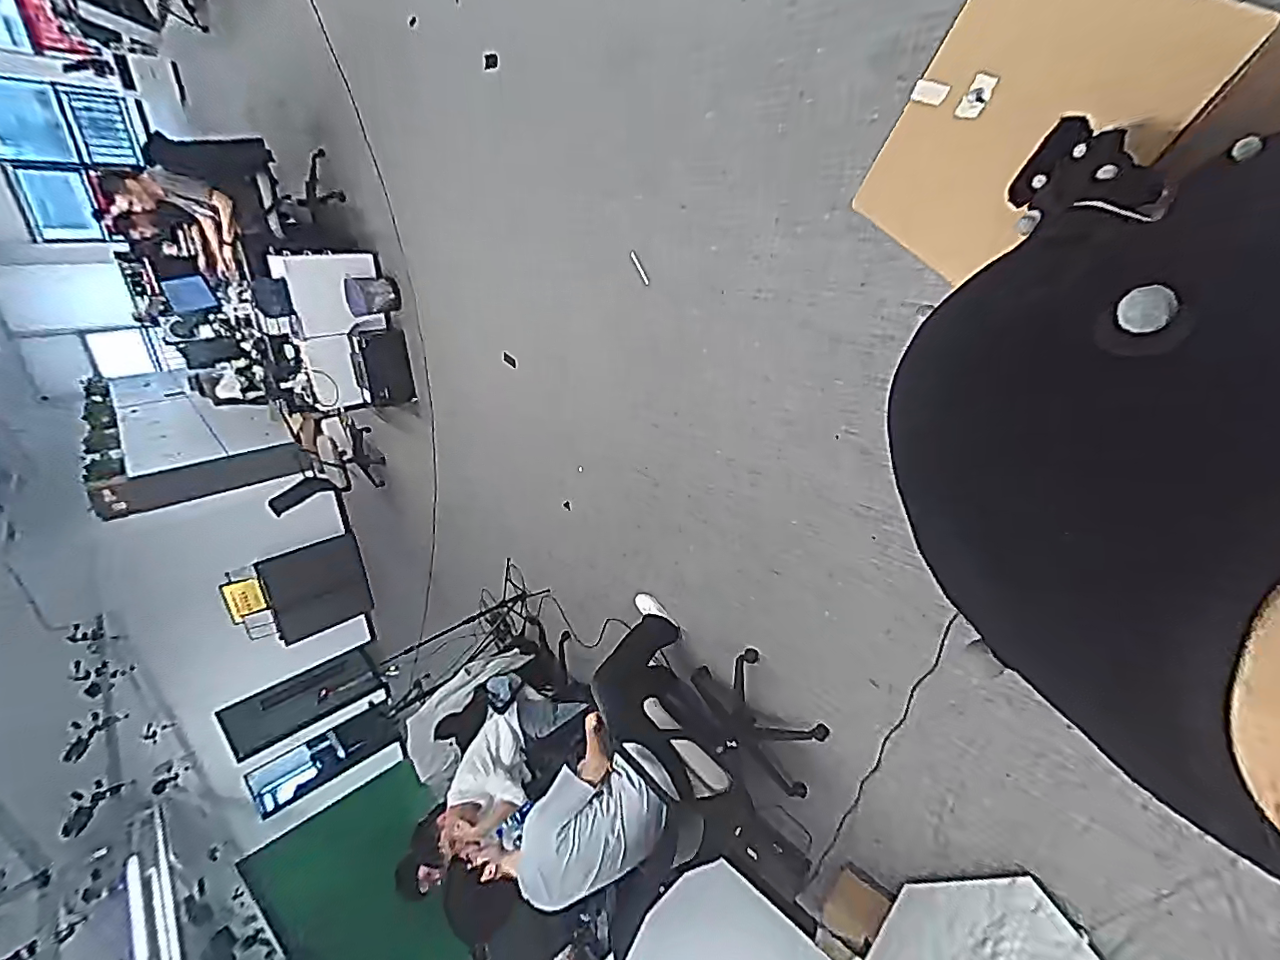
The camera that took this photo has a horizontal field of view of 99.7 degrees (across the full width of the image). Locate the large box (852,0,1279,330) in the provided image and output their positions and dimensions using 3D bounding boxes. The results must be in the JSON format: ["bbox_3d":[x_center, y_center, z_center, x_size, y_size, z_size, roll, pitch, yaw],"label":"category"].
[{"bbox_3d":[0.597,-0.431,0.757,0.320,0.408,0.320,61,144,30],"label":"large box"}]
